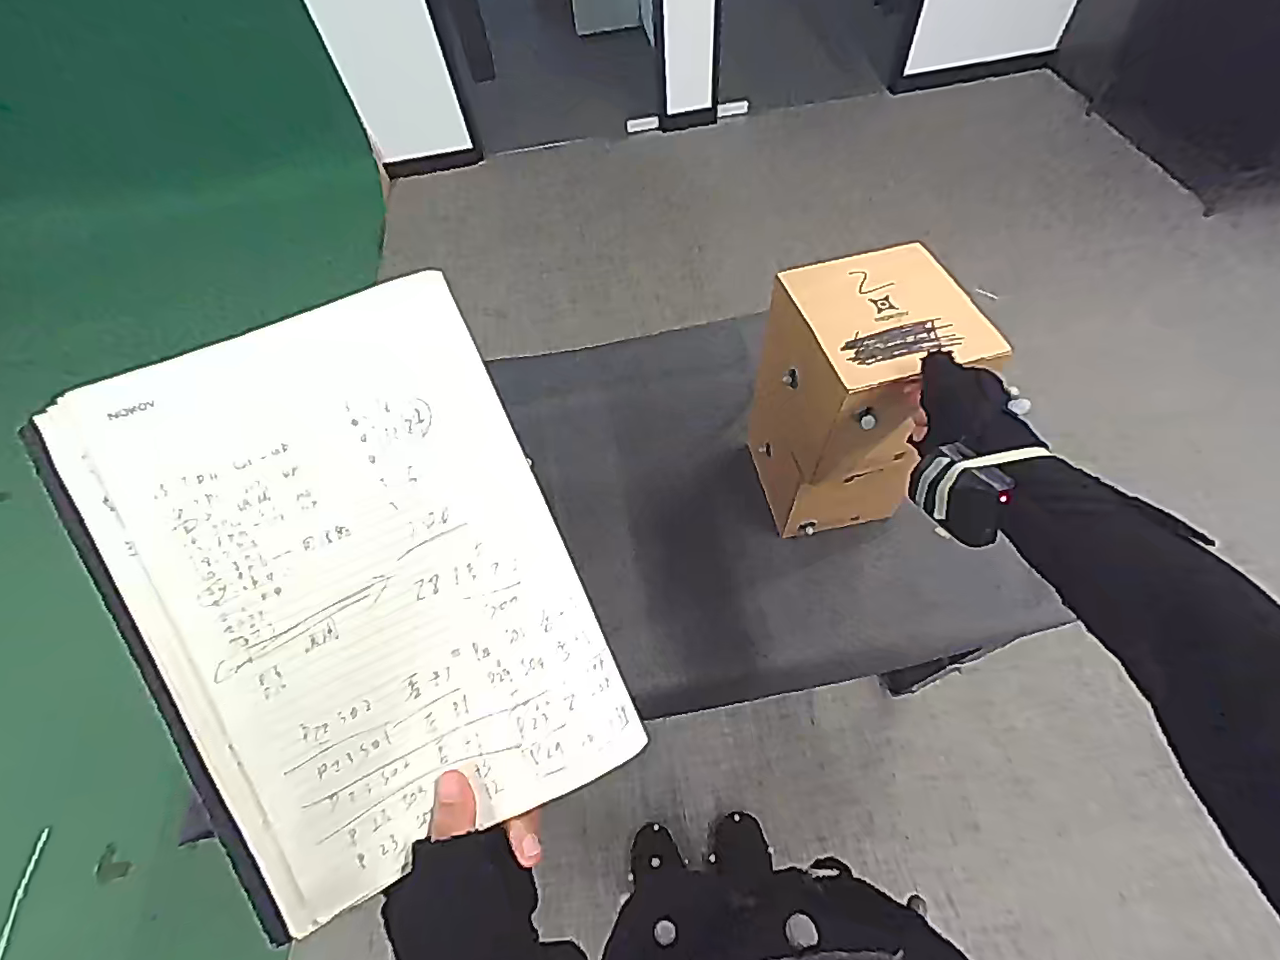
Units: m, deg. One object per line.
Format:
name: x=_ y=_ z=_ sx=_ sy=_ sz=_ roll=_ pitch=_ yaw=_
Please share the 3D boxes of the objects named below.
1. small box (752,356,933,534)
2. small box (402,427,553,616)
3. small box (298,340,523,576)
small box: x=0.263 y=-0.039 z=0.751 sx=0.168 sy=0.176 sz=0.179 roll=-11 pitch=57 yaw=-2
small box: x=-0.223 y=0.060 z=0.730 sx=0.168 sy=0.176 sz=0.179 roll=-14 pitch=58 yaw=-3
small box: x=-0.232 y=-0.019 z=0.589 sx=0.168 sy=0.176 sz=0.179 roll=-13 pitch=58 yaw=-4
